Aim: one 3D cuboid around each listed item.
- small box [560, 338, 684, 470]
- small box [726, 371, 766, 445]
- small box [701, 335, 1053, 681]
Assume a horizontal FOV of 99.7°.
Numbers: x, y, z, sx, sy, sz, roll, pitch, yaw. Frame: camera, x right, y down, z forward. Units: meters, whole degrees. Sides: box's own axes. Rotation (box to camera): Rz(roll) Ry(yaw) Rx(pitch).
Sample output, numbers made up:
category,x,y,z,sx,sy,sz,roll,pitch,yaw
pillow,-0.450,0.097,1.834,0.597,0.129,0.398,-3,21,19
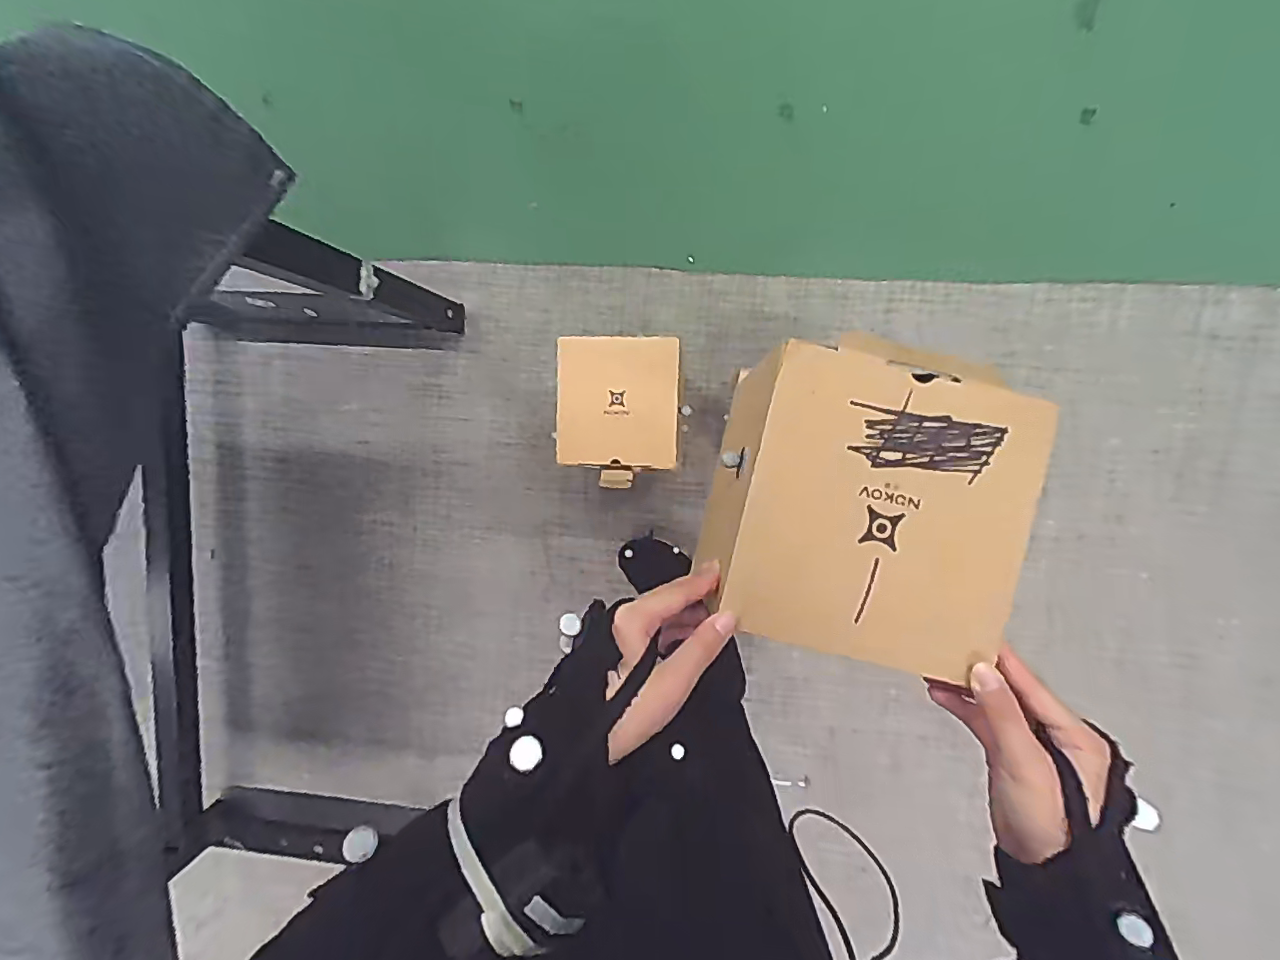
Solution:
category,x,y,z,sx,sy,sz,roll,pitch,yaw
small box,-0.020,-0.109,0.804,0.168,0.176,0.179,2,96,6
small box,0.241,-0.091,0.946,0.168,0.176,0.179,6,98,6
small box,0.147,0.017,0.400,0.168,0.176,0.179,14,90,1
